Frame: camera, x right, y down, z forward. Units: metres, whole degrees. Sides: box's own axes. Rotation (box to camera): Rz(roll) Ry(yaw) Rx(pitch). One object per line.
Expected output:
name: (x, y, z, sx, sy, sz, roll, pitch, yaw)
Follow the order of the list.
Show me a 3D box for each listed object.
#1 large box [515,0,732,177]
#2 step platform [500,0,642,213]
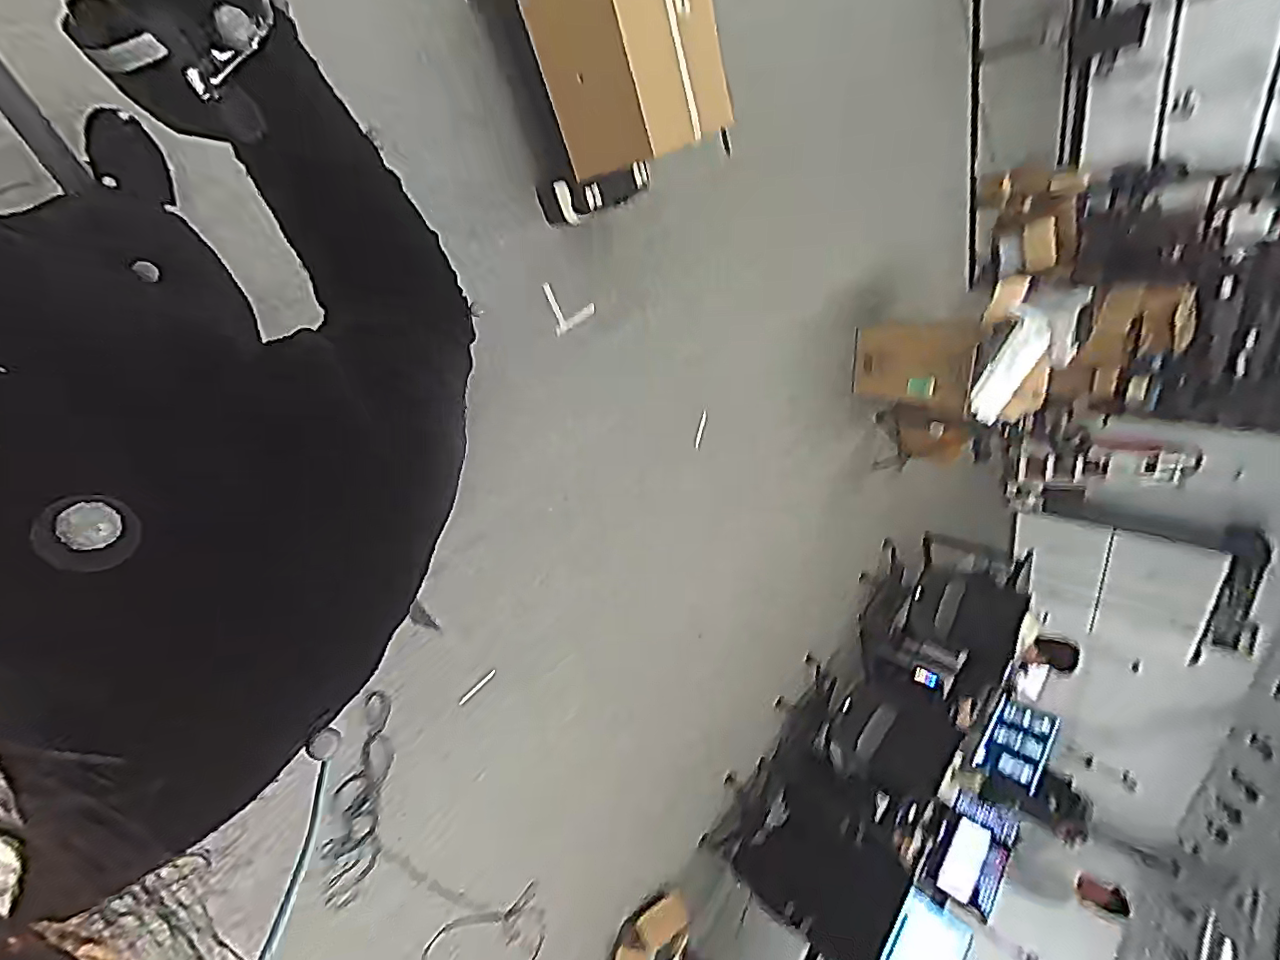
large box: (-0.031, -1.025, 1.311, 0.320, 0.320, 0.408, -42, 126, -27)
step platform: (-0.220, -1.107, 1.444, 0.286, 0.204, 0.684, -36, 124, -30)
